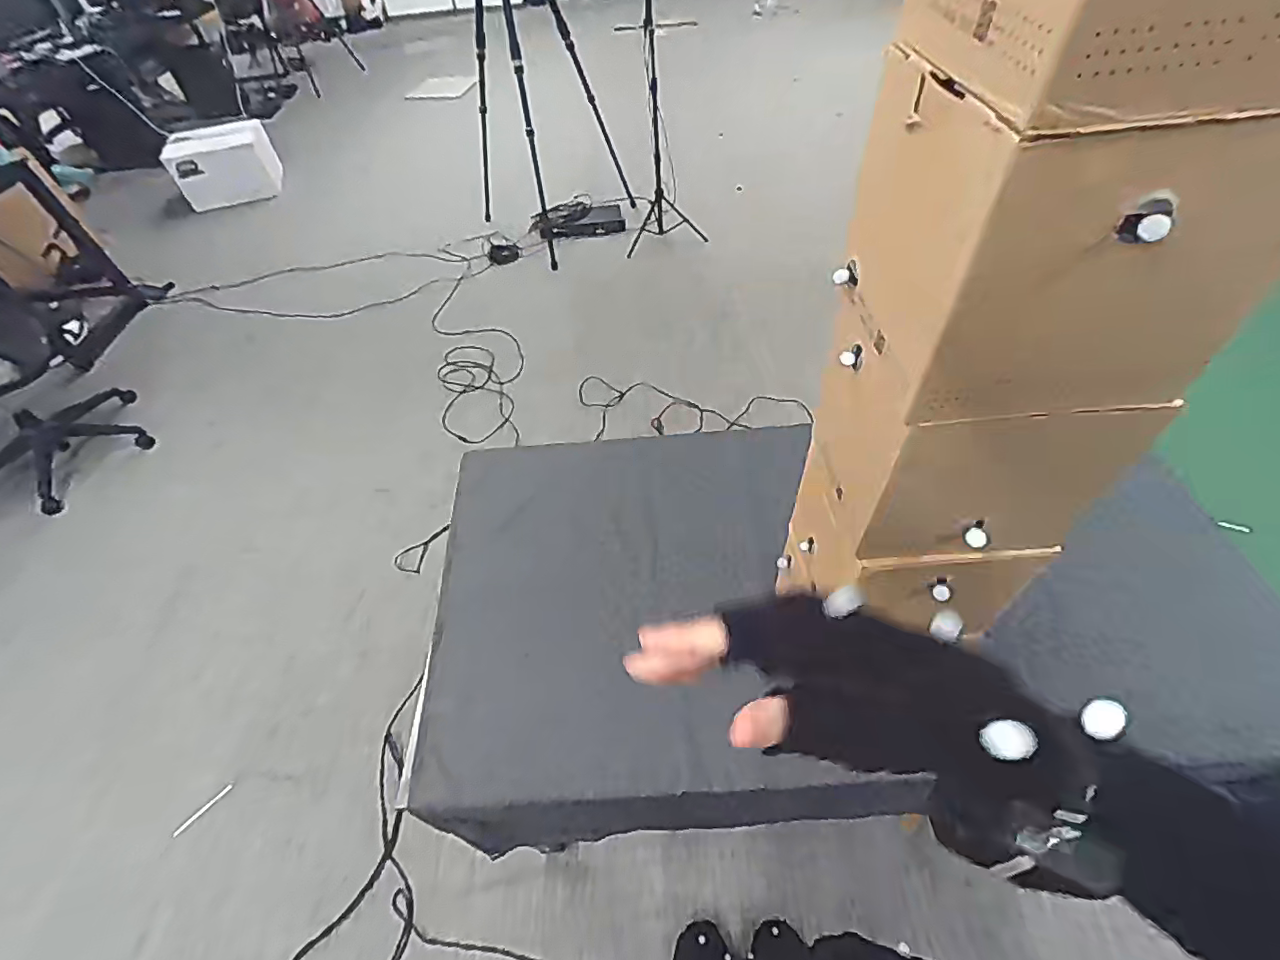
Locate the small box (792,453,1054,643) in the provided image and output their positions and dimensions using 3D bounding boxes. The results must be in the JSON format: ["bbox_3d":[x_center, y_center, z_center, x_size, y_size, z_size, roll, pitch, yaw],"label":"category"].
[{"bbox_3d":[0.278,0.062,0.584,0.179,0.176,0.168,-5,50,1],"label":"small box"}]

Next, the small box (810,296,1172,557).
[{"bbox_3d":[0.262,-0.047,0.462,0.179,0.176,0.168,-3,49,2],"label":"small box"}]

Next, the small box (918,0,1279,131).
[{"bbox_3d":[0.235,-0.260,0.215,0.179,0.176,0.168,-3,51,4],"label":"small box"}]

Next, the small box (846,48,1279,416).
[{"bbox_3d":[0.244,-0.155,0.340,0.179,0.176,0.168,-5,50,1],"label":"small box"}]
